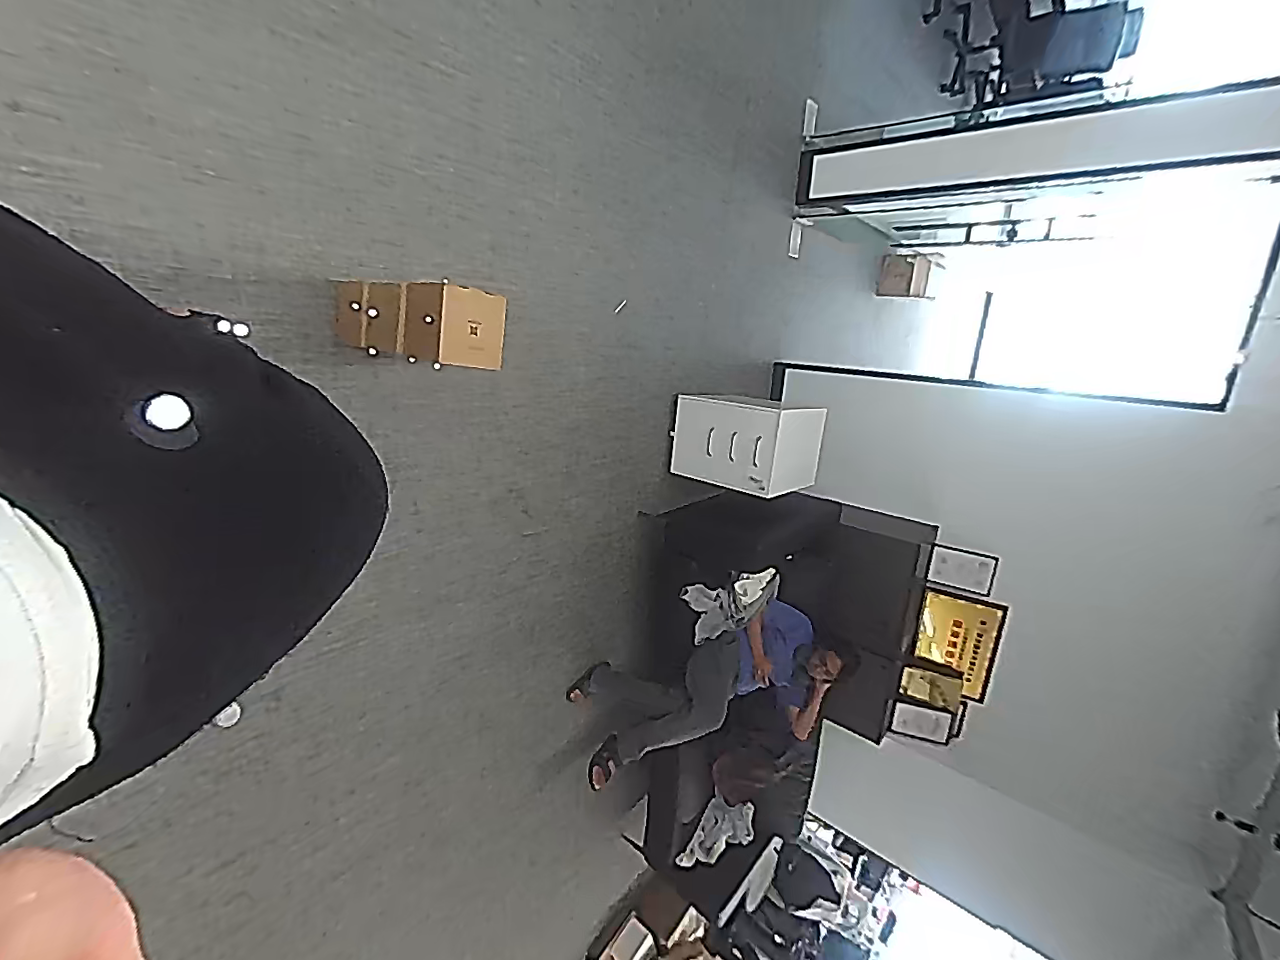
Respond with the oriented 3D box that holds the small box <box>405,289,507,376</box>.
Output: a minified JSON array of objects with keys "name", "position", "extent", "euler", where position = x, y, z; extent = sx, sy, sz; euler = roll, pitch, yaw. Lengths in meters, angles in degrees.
[{"name":"small box","position":[-0.440,-0.351,1.288],"extent":[0.168,0.176,0.179],"euler":[-6,108,-50]}]

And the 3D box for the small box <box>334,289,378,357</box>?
[{"name":"small box","position":[-0.702,-0.420,1.470],"extent":[0.179,0.176,0.168],"euler":[-5,107,-52]}]

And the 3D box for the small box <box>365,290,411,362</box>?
[{"name":"small box","position":[-0.570,-0.383,1.378],"extent":[0.179,0.176,0.168],"euler":[-3,105,-51]}]
